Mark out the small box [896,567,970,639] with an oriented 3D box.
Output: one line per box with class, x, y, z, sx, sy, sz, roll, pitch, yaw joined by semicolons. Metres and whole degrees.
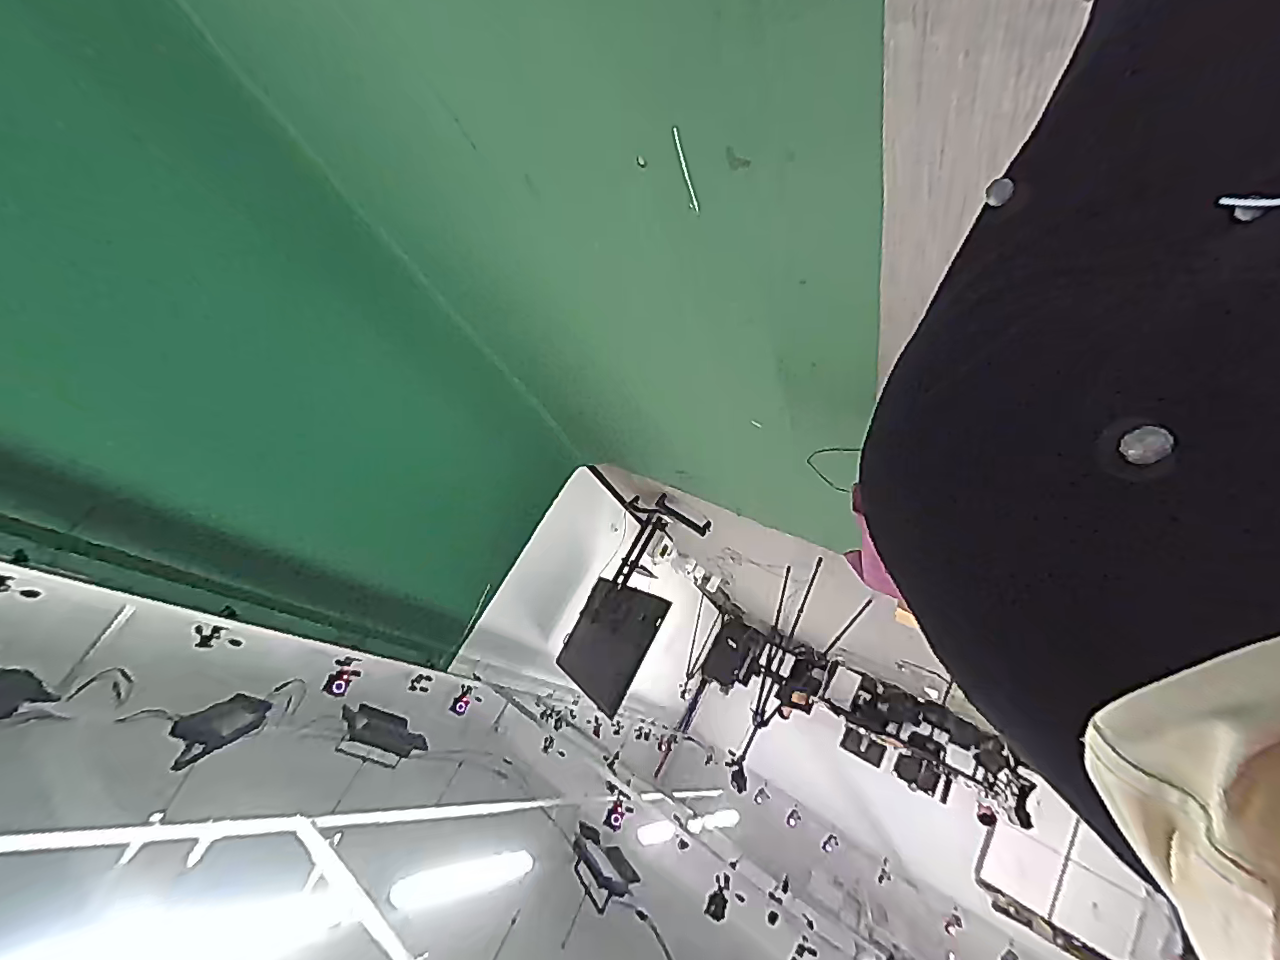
small box;1.008;0.419;1.870;0.179;0.176;0.168;21;163;31
